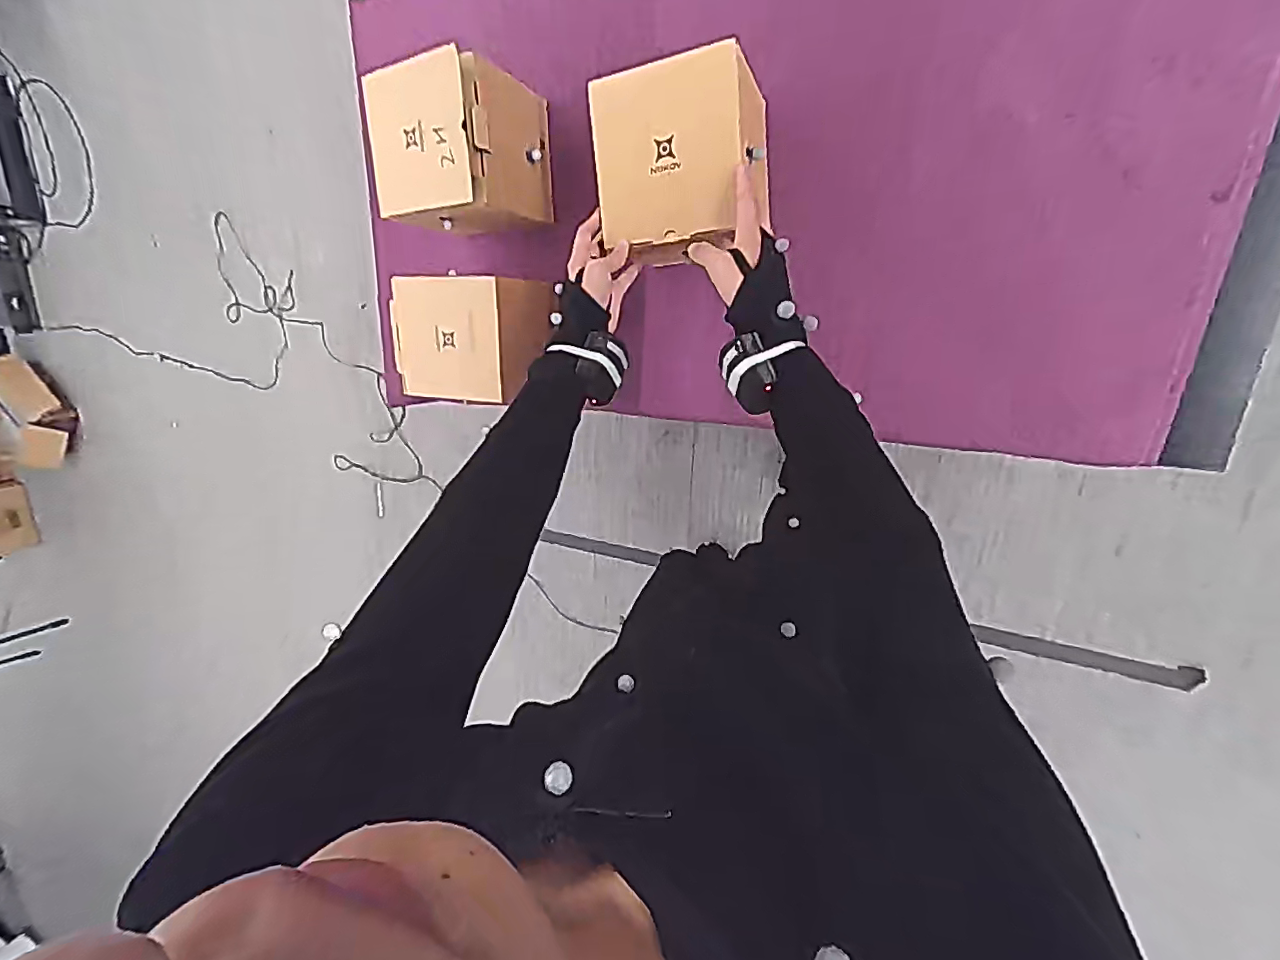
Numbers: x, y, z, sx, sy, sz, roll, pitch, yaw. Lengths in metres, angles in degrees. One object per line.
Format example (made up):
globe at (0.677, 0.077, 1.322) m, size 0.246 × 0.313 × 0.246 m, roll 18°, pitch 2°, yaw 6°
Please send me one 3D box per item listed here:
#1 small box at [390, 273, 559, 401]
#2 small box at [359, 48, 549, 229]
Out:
small box at (-0.239, -0.217, 0.811) m, size 0.179 × 0.176 × 0.168 m, roll 8°, pitch 109°, yaw 20°
small box at (-0.245, -0.449, 0.744) m, size 0.179 × 0.176 × 0.168 m, roll 6°, pitch 108°, yaw 20°
